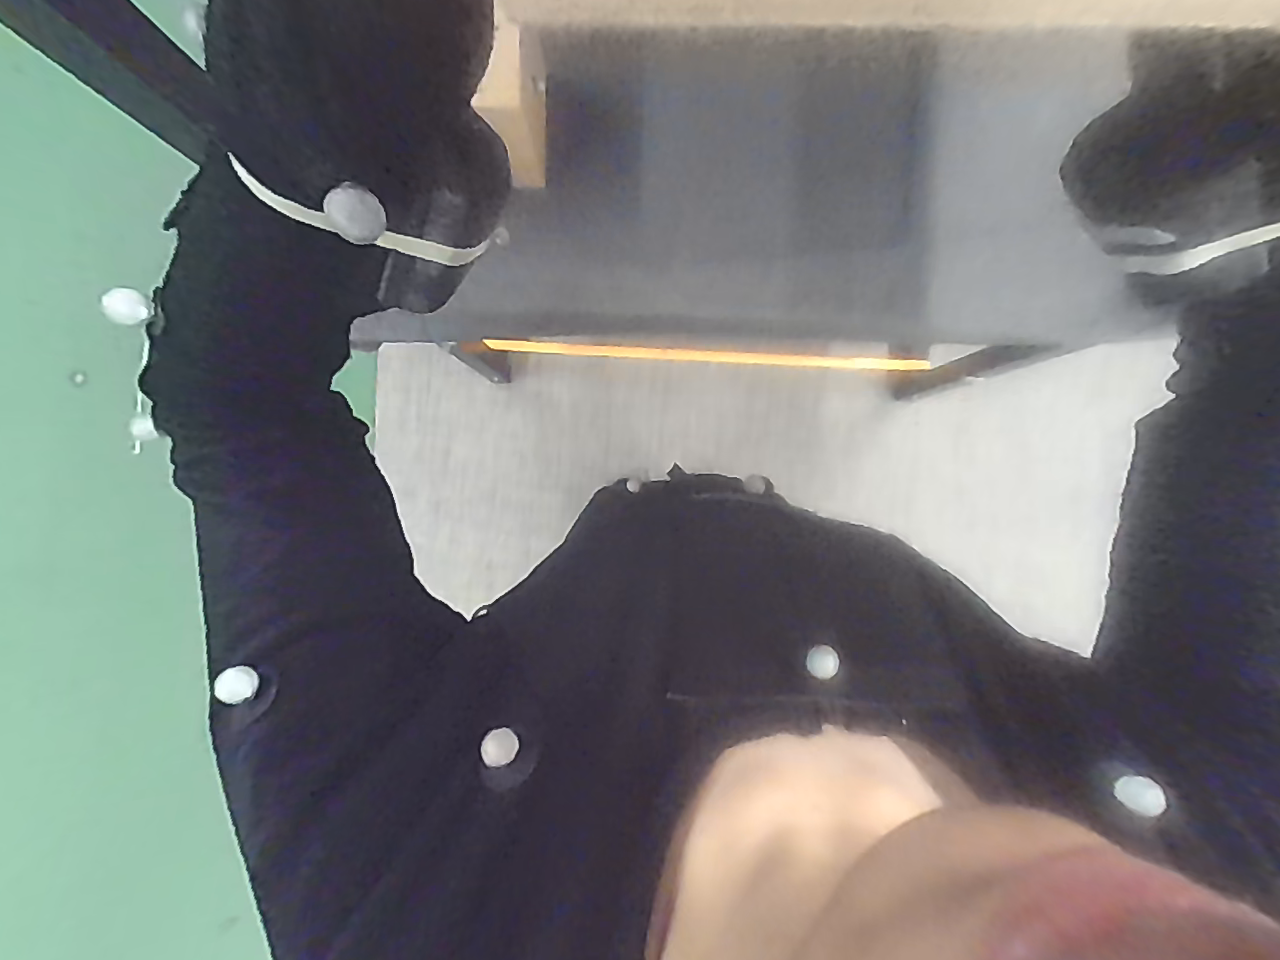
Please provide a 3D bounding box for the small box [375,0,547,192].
[{"bbox_3d":[-0.216,-0.501,0.691,0.168,0.176,0.179,0,89,1],"label":"small box"}]
